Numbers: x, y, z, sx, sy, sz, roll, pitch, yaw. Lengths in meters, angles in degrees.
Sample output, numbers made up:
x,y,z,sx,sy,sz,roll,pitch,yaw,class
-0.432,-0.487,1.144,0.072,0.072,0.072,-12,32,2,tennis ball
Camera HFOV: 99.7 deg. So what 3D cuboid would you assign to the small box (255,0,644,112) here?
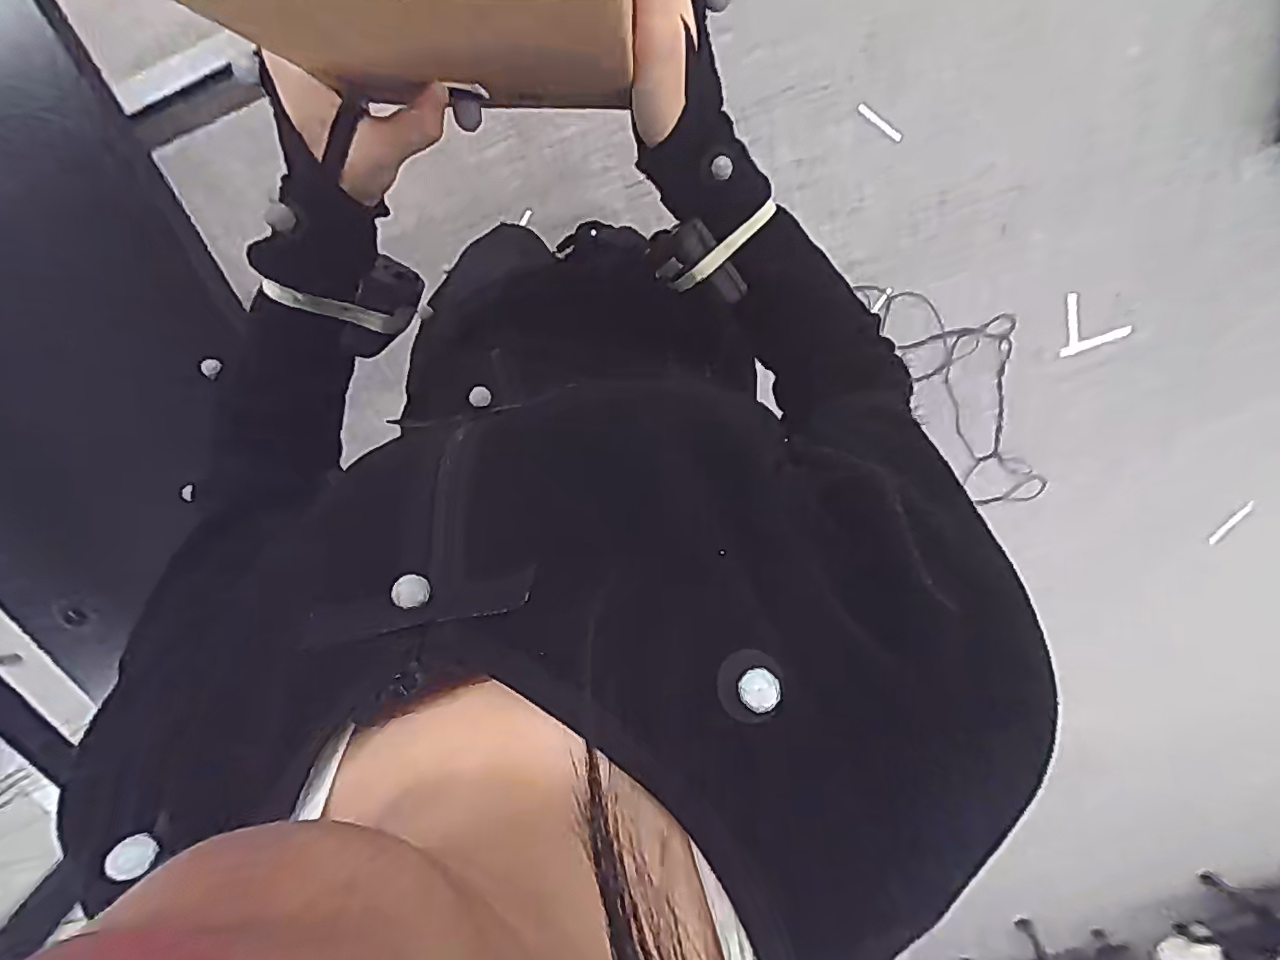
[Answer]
x,y,z,sx,sy,sz,roll,pitch,yaw,class
-0.079,-0.281,0.226,0.168,0.176,0.179,2,113,0,small box
